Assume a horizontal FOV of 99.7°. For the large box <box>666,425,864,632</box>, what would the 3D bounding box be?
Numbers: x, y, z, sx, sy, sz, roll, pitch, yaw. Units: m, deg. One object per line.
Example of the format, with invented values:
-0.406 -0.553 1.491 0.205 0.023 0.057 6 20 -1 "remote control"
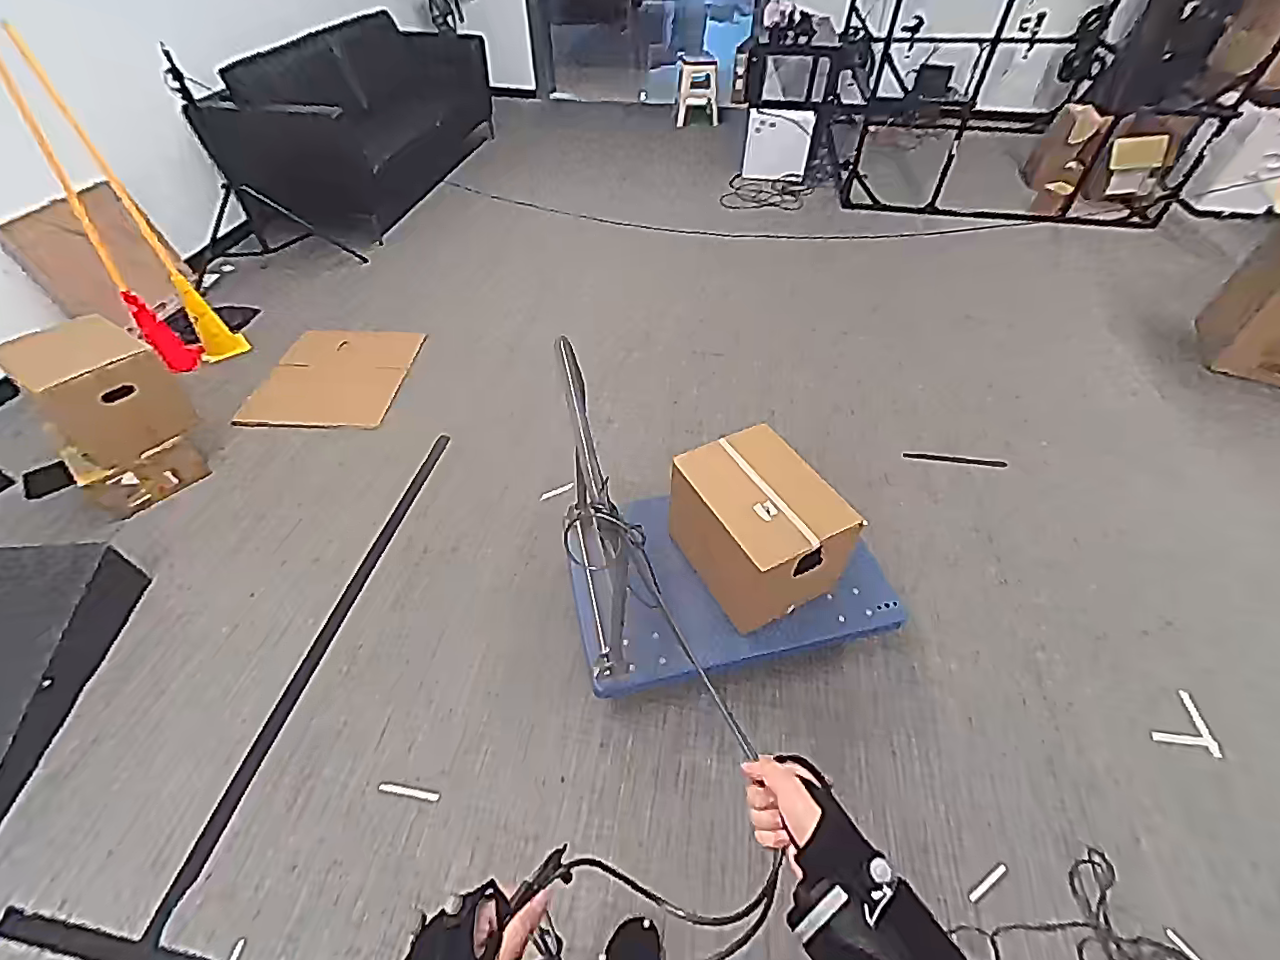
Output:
0.306 0.122 1.465 0.320 0.320 0.408 -22 53 -18 "large box"
